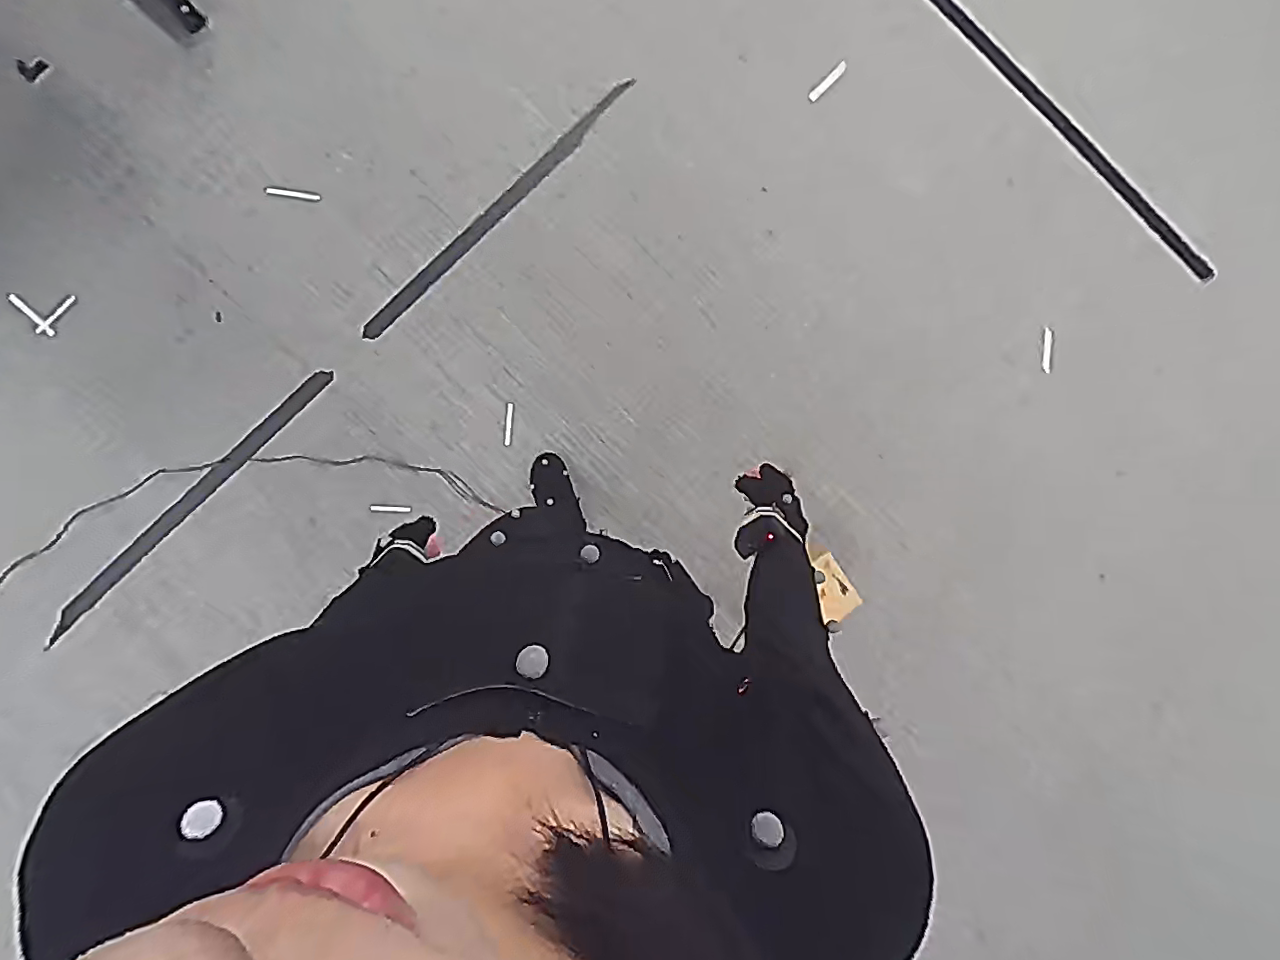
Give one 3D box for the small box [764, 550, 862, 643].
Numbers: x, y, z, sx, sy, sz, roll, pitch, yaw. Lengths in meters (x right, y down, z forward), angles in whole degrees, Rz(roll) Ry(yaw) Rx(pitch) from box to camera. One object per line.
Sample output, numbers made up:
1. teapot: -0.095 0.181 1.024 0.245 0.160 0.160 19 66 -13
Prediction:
1. small box: 0.453 0.307 1.458 0.179 0.176 0.168 -33 91 -3
